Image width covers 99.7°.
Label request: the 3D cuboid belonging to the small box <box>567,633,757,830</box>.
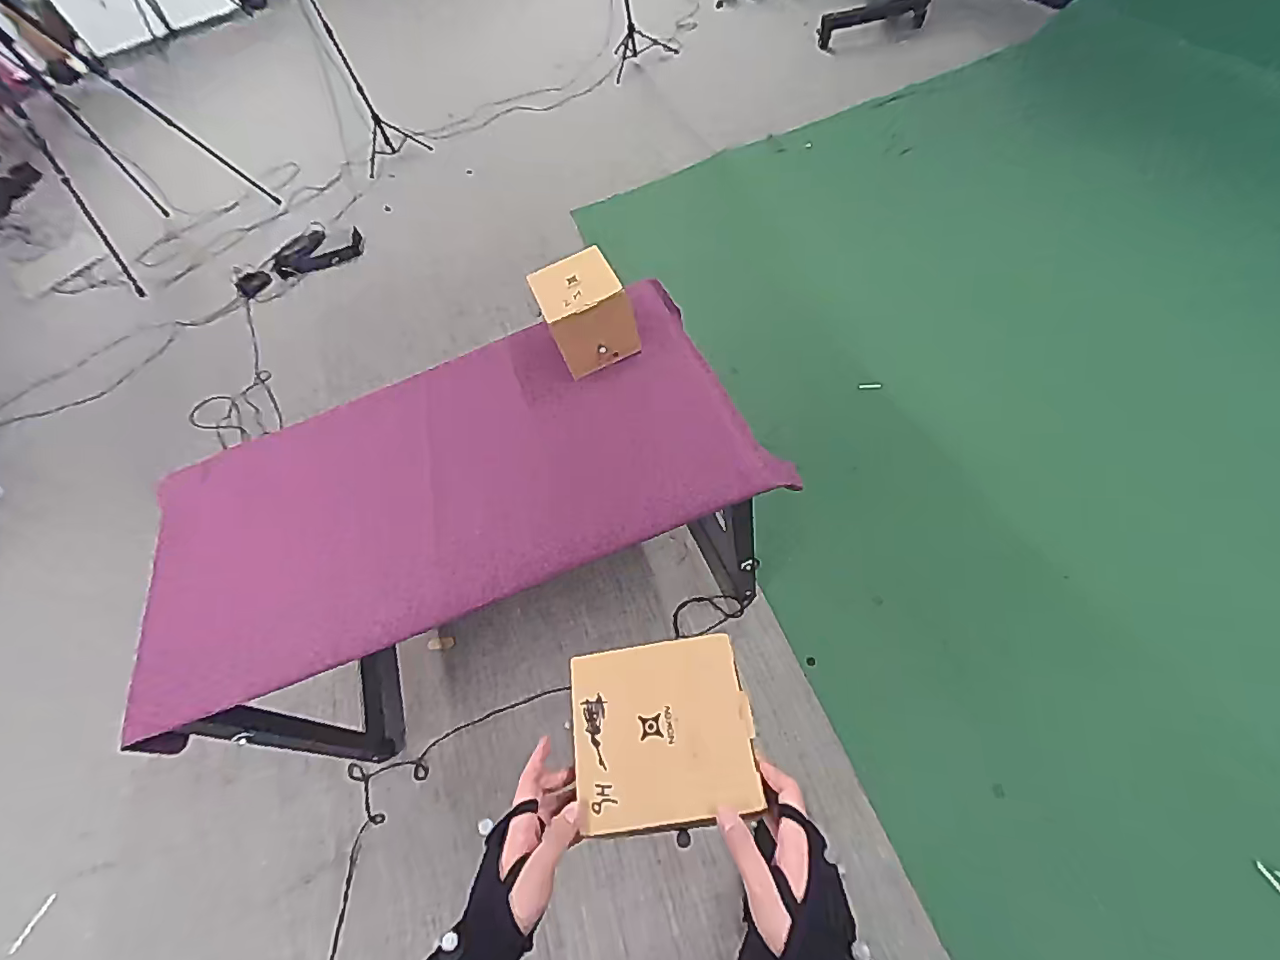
[{"bbox_3d":[0.025,0.287,0.610,0.179,0.176,0.168,-10,56,4],"label":"small box"}]

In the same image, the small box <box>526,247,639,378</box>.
[{"bbox_3d":[-0.120,-0.356,1.166,0.168,0.176,0.179,-26,57,1],"label":"small box"}]
